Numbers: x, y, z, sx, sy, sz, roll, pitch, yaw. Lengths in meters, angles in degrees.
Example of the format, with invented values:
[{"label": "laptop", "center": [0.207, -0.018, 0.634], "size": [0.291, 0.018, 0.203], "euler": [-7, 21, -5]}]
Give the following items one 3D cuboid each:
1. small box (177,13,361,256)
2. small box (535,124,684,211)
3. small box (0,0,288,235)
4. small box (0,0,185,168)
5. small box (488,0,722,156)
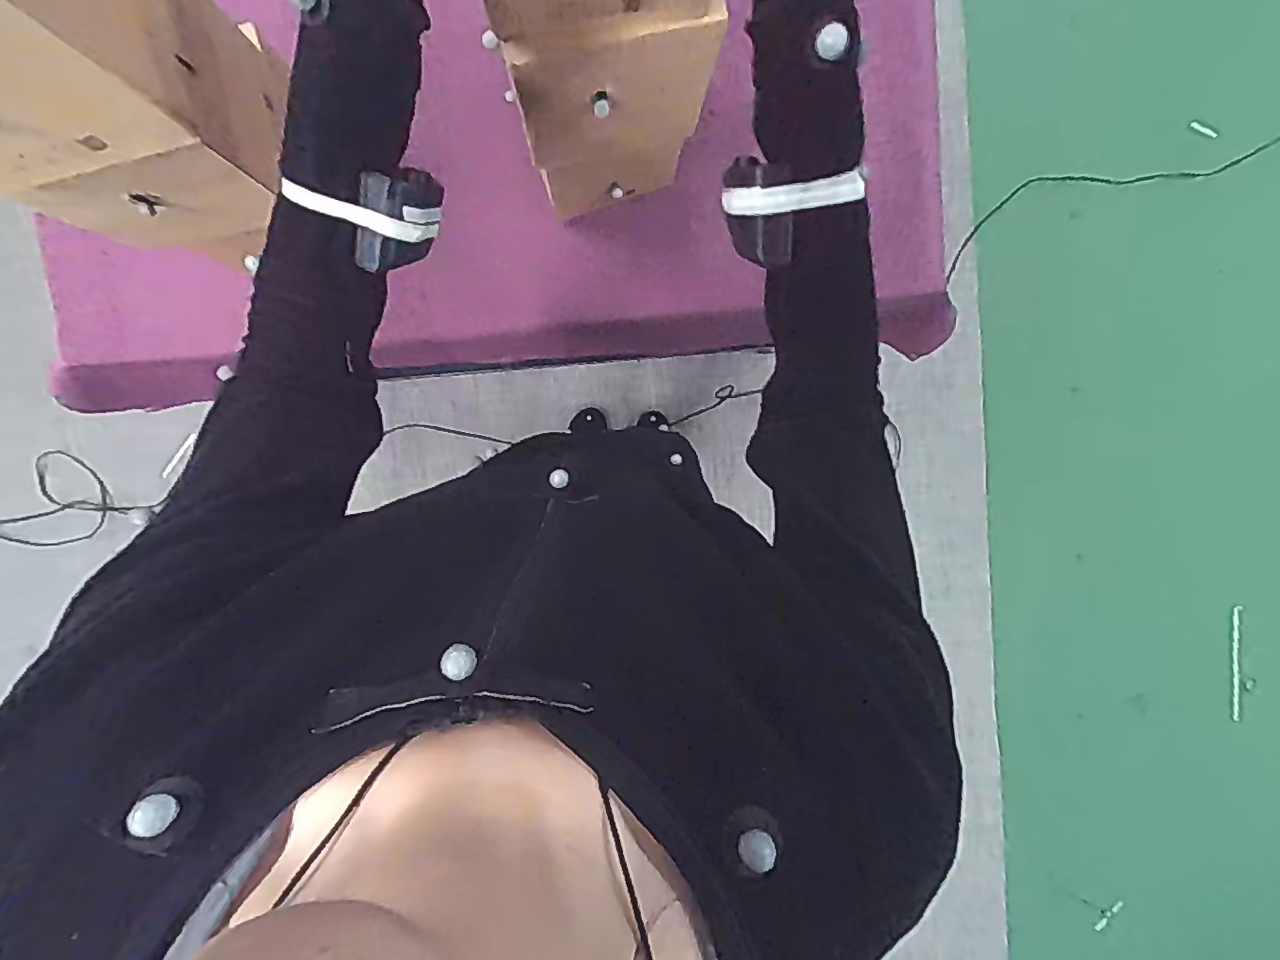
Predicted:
[{"label": "small box", "center": [-0.454, -0.377, 0.627], "size": [0.168, 0.176, 0.179], "euler": [-12, 96, -3]}, {"label": "small box", "center": [-0.057, -0.457, 0.642], "size": [0.168, 0.176, 0.179], "euler": [-18, 97, -1]}, {"label": "small box", "center": [-0.443, -0.334, 0.467], "size": [0.179, 0.176, 0.168], "euler": [-12, 97, -3]}, {"label": "small box", "center": [-0.421, -0.308, 0.308], "size": [0.168, 0.176, 0.179], "euler": [-16, 96, -3]}, {"label": "small box", "center": [-0.041, -0.422, 0.482], "size": [0.179, 0.176, 0.168], "euler": [-14, 97, -2]}]
